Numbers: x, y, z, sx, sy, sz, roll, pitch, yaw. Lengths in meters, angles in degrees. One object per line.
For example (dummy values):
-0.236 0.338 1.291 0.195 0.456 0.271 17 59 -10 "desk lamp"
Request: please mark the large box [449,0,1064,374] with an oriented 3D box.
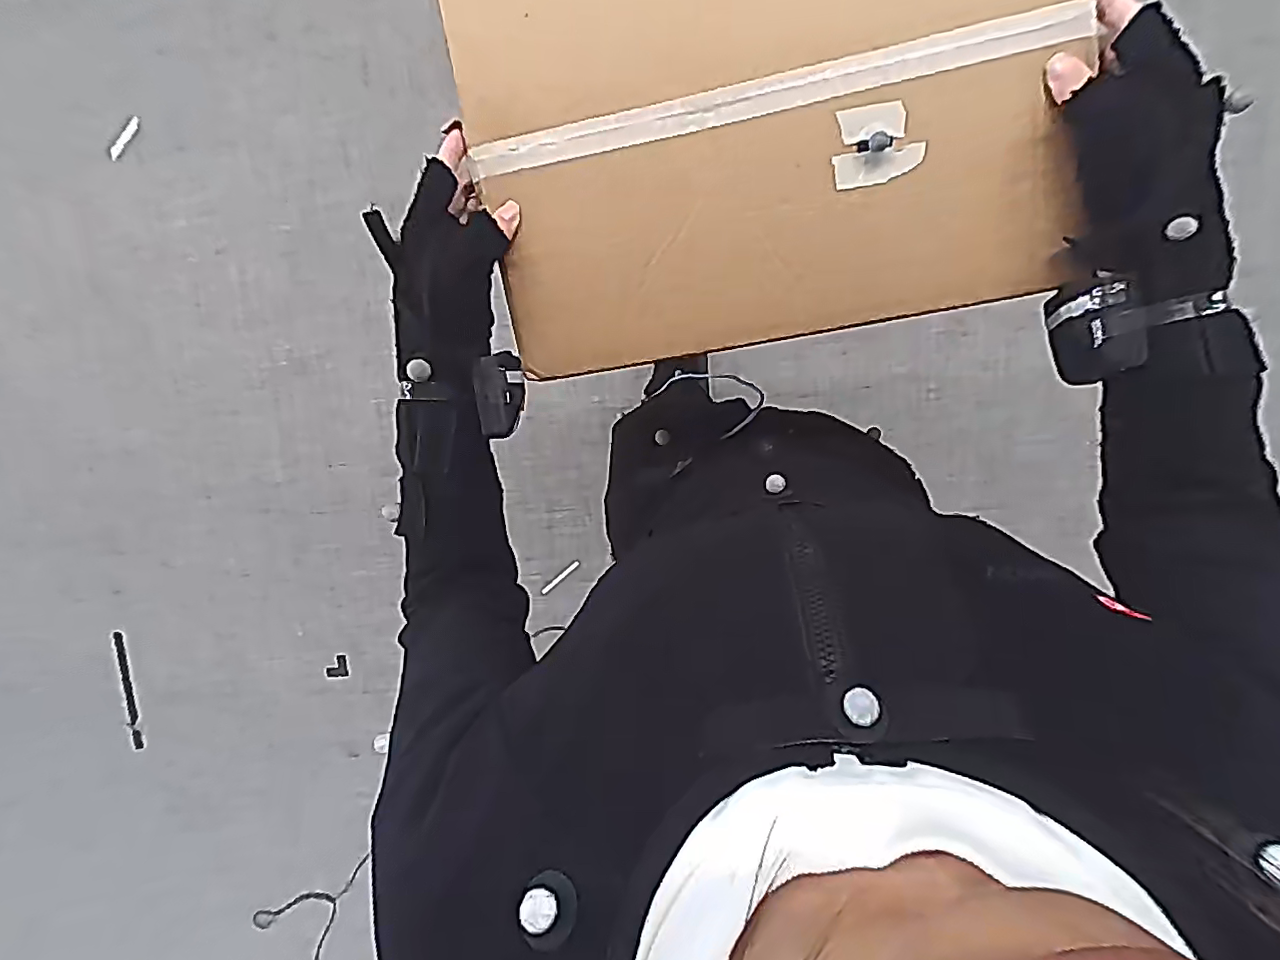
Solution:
0.091 -0.297 0.521 0.408 0.320 0.320 -9 104 6 "large box"
